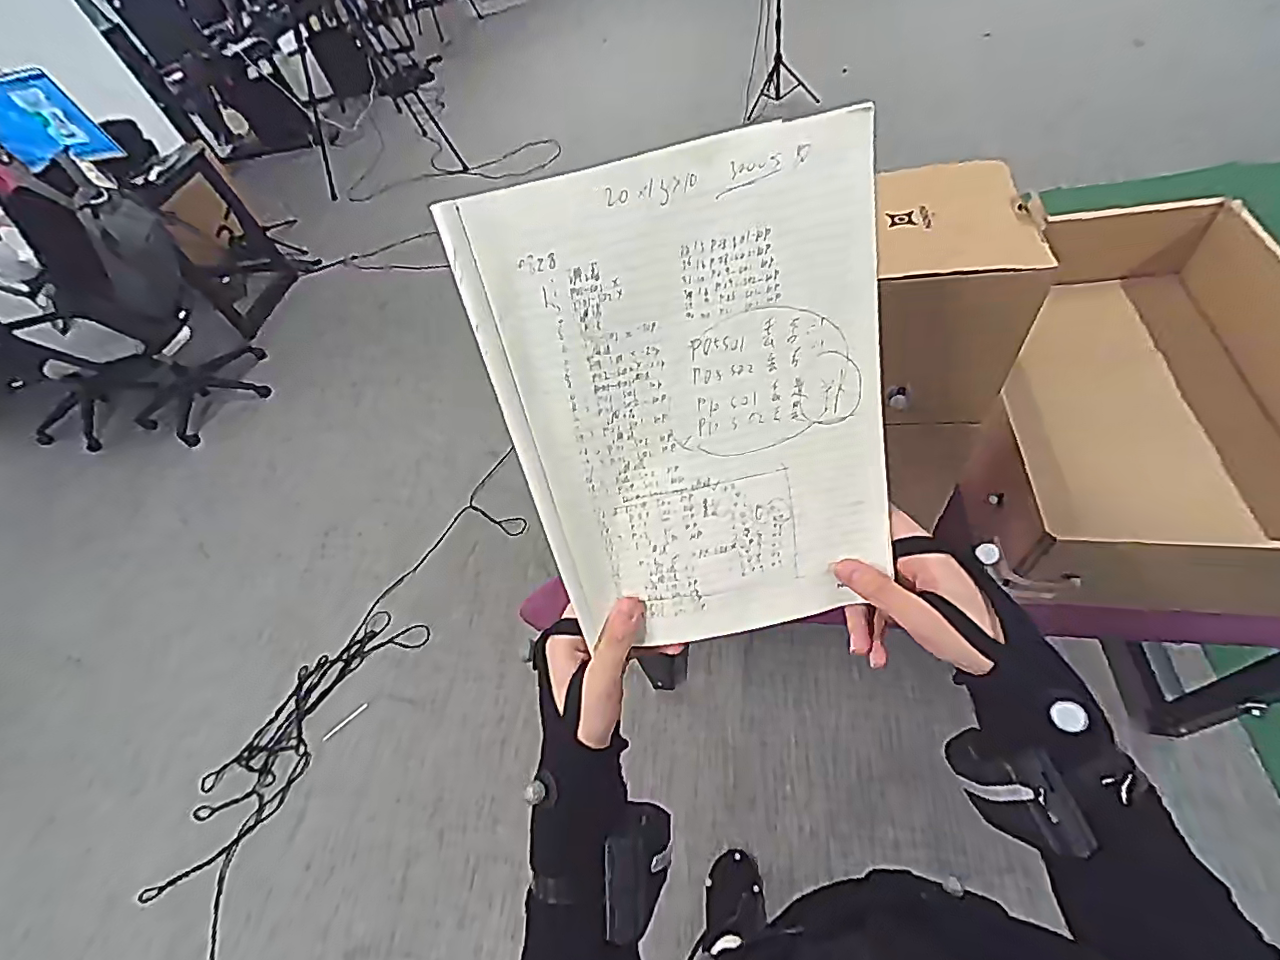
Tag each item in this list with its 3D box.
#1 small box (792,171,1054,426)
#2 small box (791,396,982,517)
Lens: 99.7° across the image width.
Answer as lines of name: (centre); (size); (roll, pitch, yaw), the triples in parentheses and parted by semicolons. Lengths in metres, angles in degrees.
small box: (0.243, -0.165, 0.520); (0.179, 0.176, 0.168); (1, 52, 13)
small box: (0.275, -0.067, 0.649); (0.179, 0.176, 0.168); (0, 53, 15)
